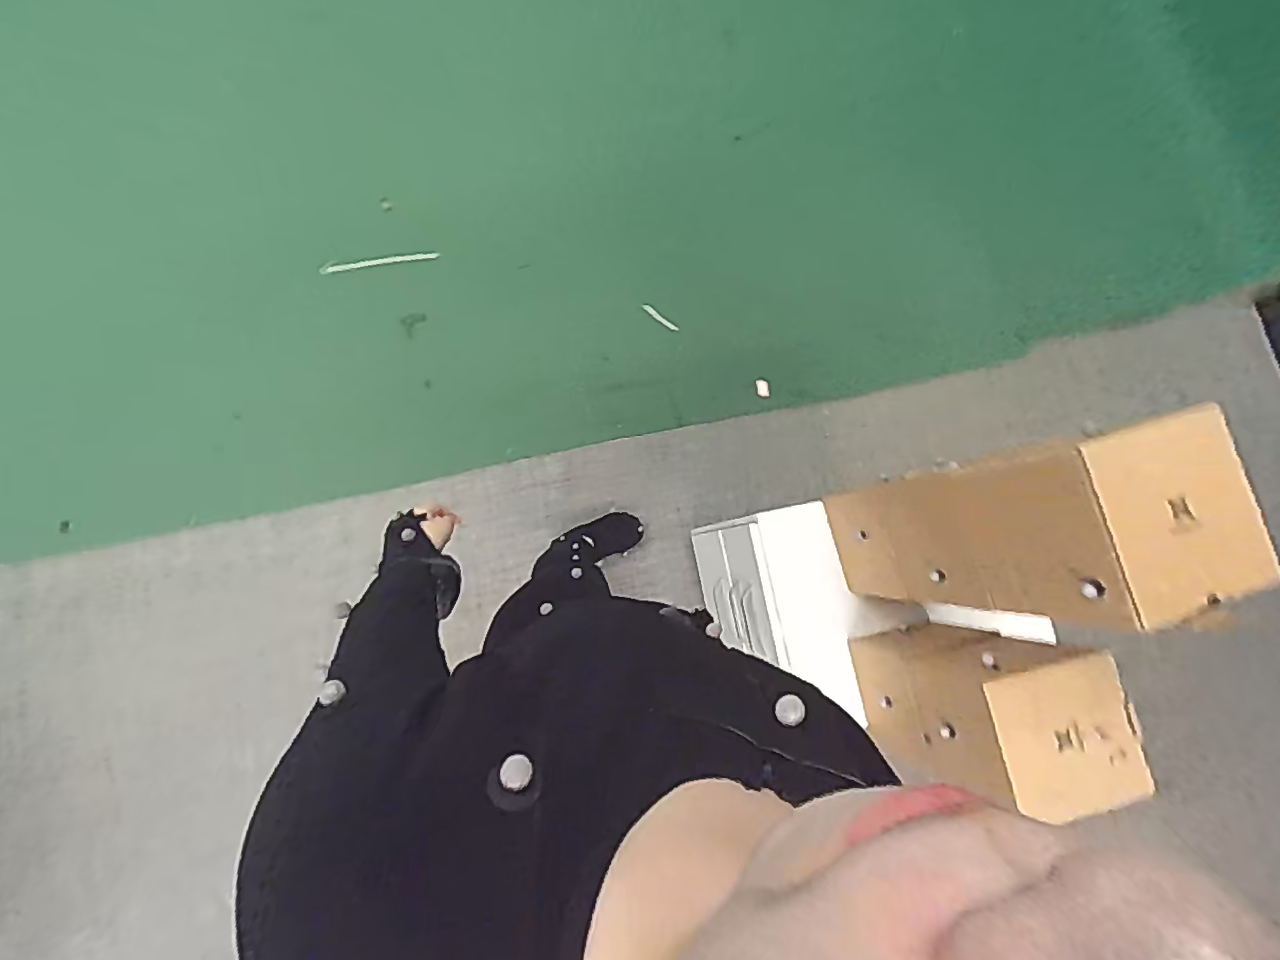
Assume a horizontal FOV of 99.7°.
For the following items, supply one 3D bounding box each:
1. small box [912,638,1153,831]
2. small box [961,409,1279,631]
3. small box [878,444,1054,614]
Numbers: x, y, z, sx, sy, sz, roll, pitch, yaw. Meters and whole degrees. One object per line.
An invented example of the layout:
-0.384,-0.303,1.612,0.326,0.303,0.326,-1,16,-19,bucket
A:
0.484,0.312,0.701,0.179,0.176,0.168,-10,82,-8,small box
0.487,0.043,0.578,0.168,0.176,0.179,-15,86,-10,small box
0.462,0.066,0.738,0.168,0.176,0.179,-16,85,-10,small box
